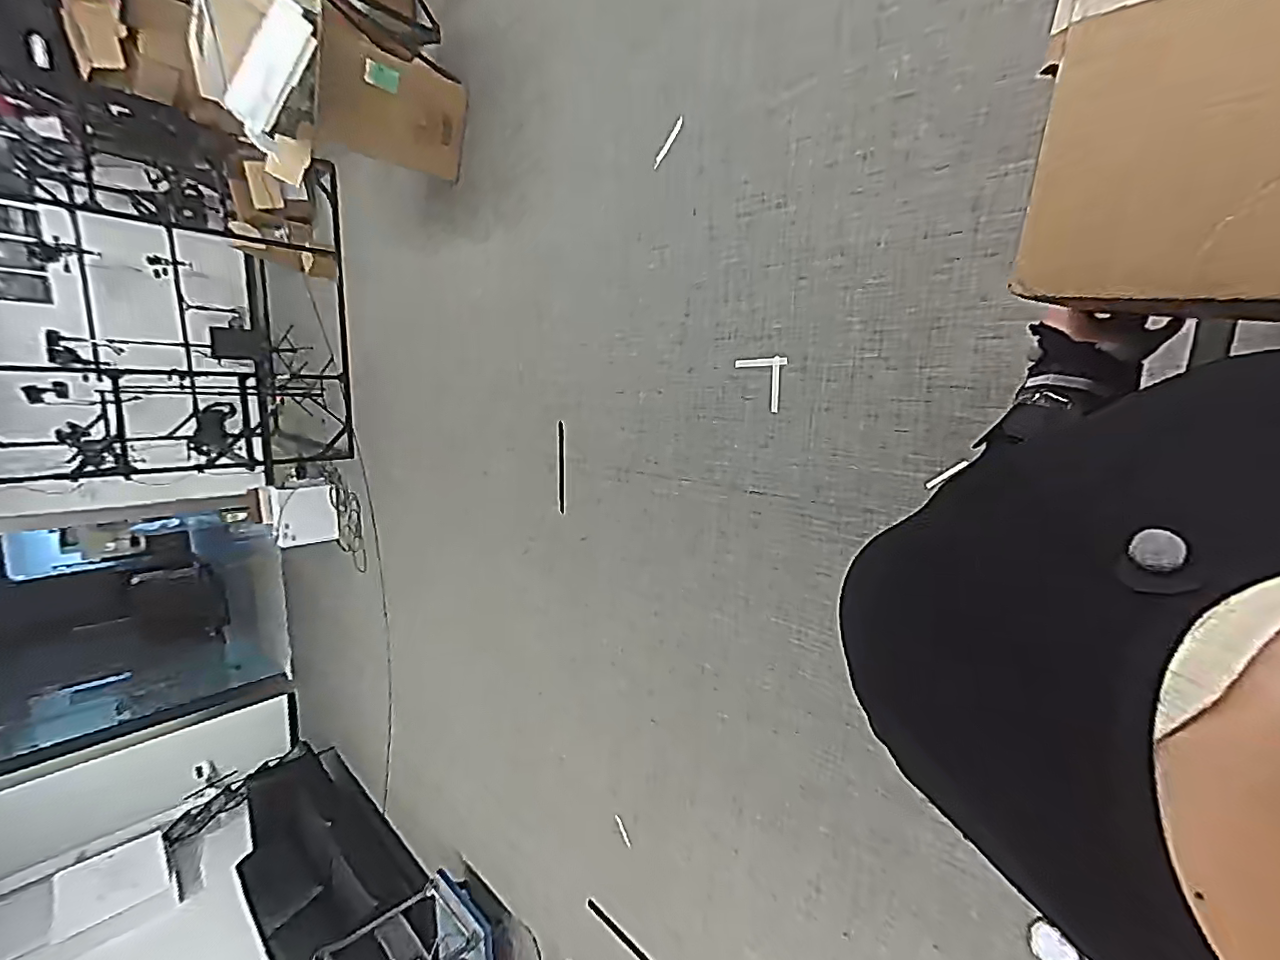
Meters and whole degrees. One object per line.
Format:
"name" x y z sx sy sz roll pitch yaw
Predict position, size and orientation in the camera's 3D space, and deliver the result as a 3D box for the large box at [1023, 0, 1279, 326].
"large box" 0.492 -0.239 0.267 0.408 0.320 0.320 20 114 44
